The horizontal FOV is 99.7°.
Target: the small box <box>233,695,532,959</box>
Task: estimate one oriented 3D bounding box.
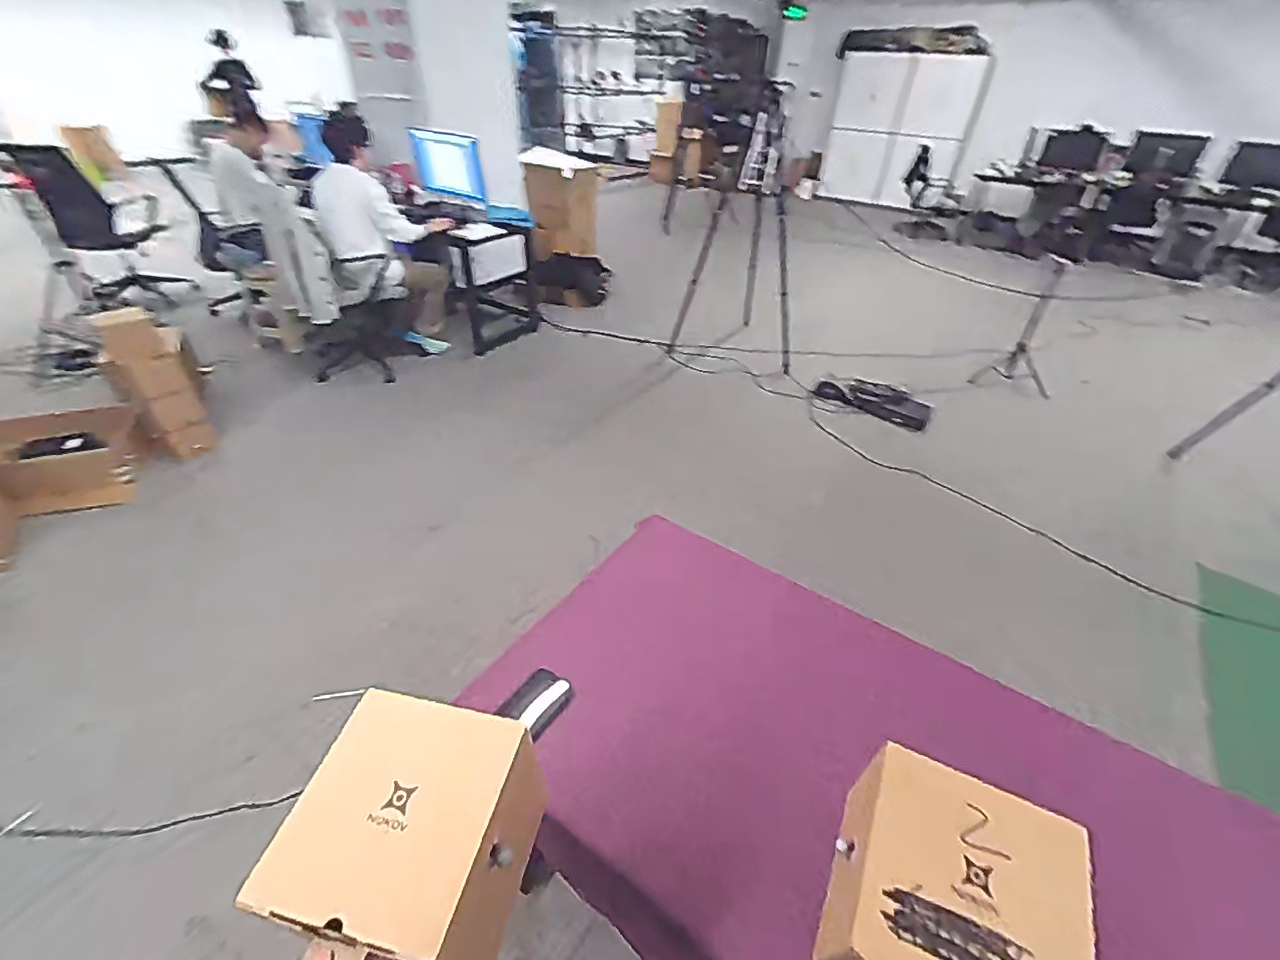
[{"bbox_3d":[-0.209,0.336,0.504,0.168,0.176,0.179,8,43,9],"label":"small box"}]
